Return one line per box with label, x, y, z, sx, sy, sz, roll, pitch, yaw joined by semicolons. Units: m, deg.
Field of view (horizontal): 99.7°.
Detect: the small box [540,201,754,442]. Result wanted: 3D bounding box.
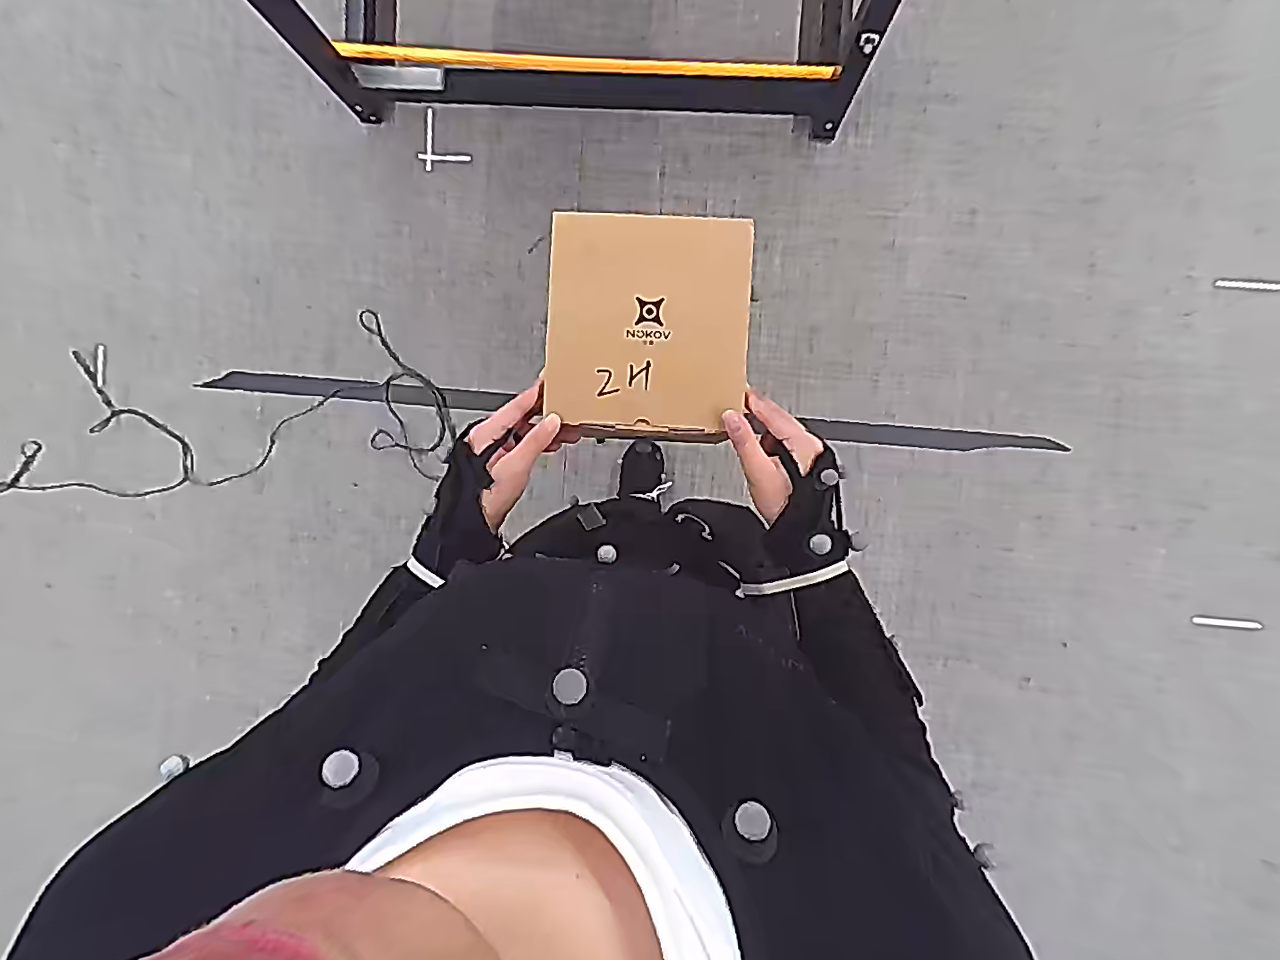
small box;0.007;-0.135;0.518;0.168;0.176;0.179;4;90;2
